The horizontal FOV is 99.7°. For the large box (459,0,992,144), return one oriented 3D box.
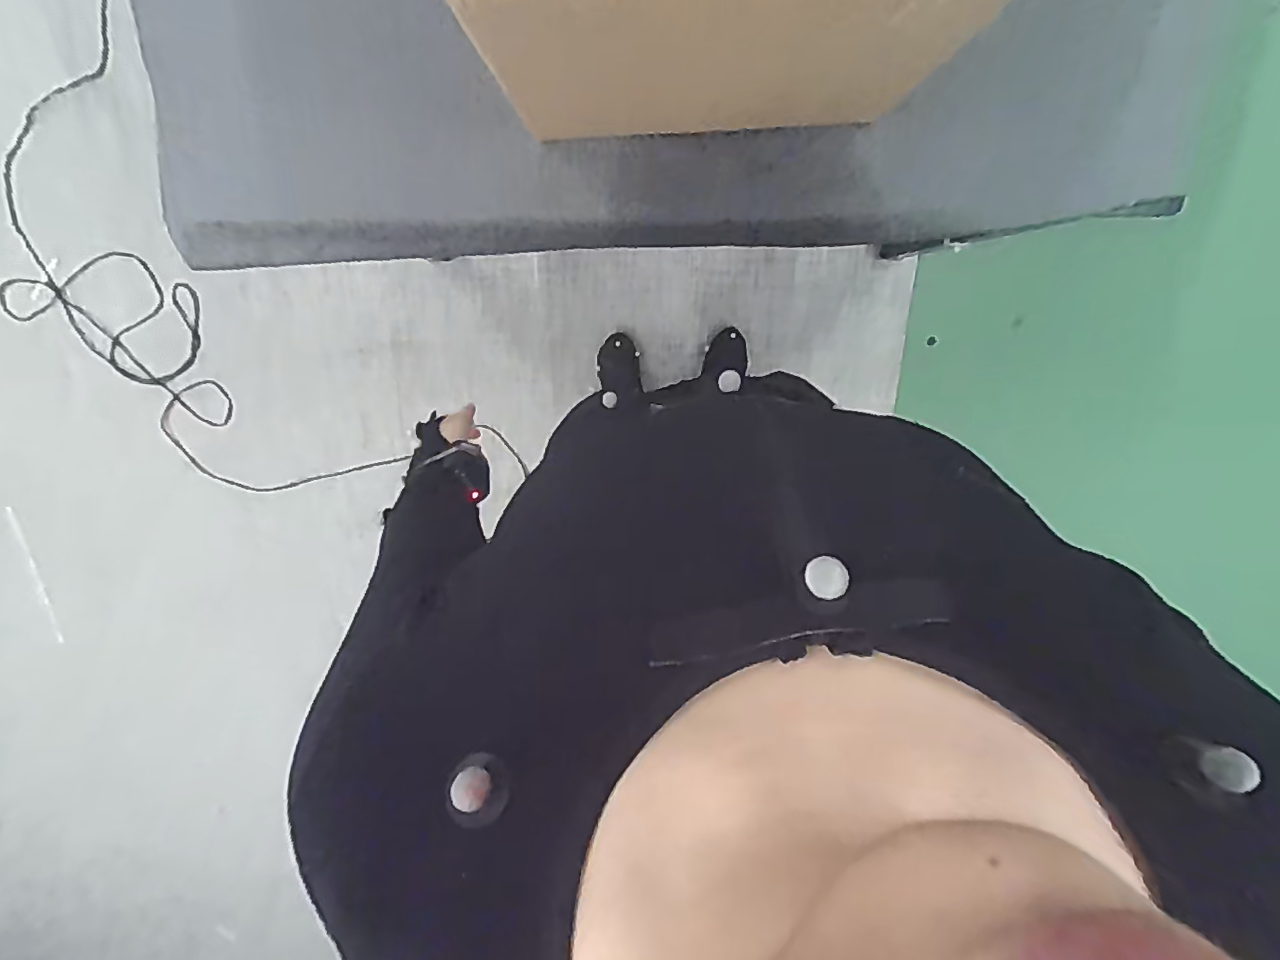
[{"bbox_3d":[0.063,-0.516,0.456,0.408,0.320,0.320,-3,107,1],"label":"large box"}]
